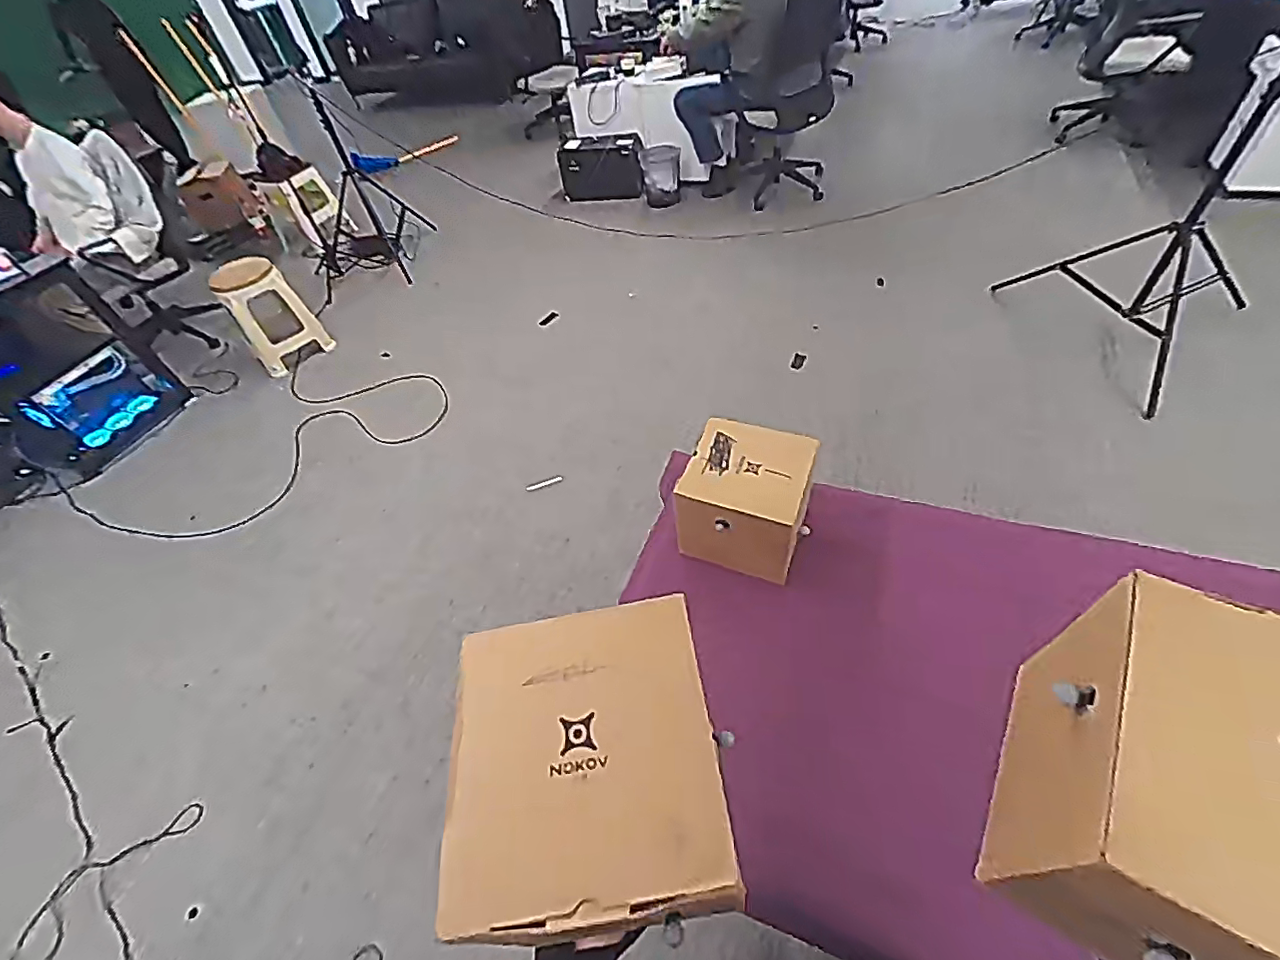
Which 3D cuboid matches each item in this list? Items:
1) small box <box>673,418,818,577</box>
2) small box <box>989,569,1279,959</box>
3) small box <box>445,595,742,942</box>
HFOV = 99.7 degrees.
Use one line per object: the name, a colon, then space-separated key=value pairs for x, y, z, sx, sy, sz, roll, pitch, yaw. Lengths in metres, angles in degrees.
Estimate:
small box: x=0.166 y=0.031 z=0.857 sx=0.179 sy=0.176 sz=0.168 roll=15 pitch=55 yaw=20
small box: x=0.334 y=0.192 z=0.316 sx=0.168 sy=0.176 sz=0.179 roll=23 pitch=57 yaw=25
small box: x=-0.024 y=0.214 z=0.398 sx=0.168 sy=0.176 sz=0.179 roll=-11 pitch=47 yaw=0
